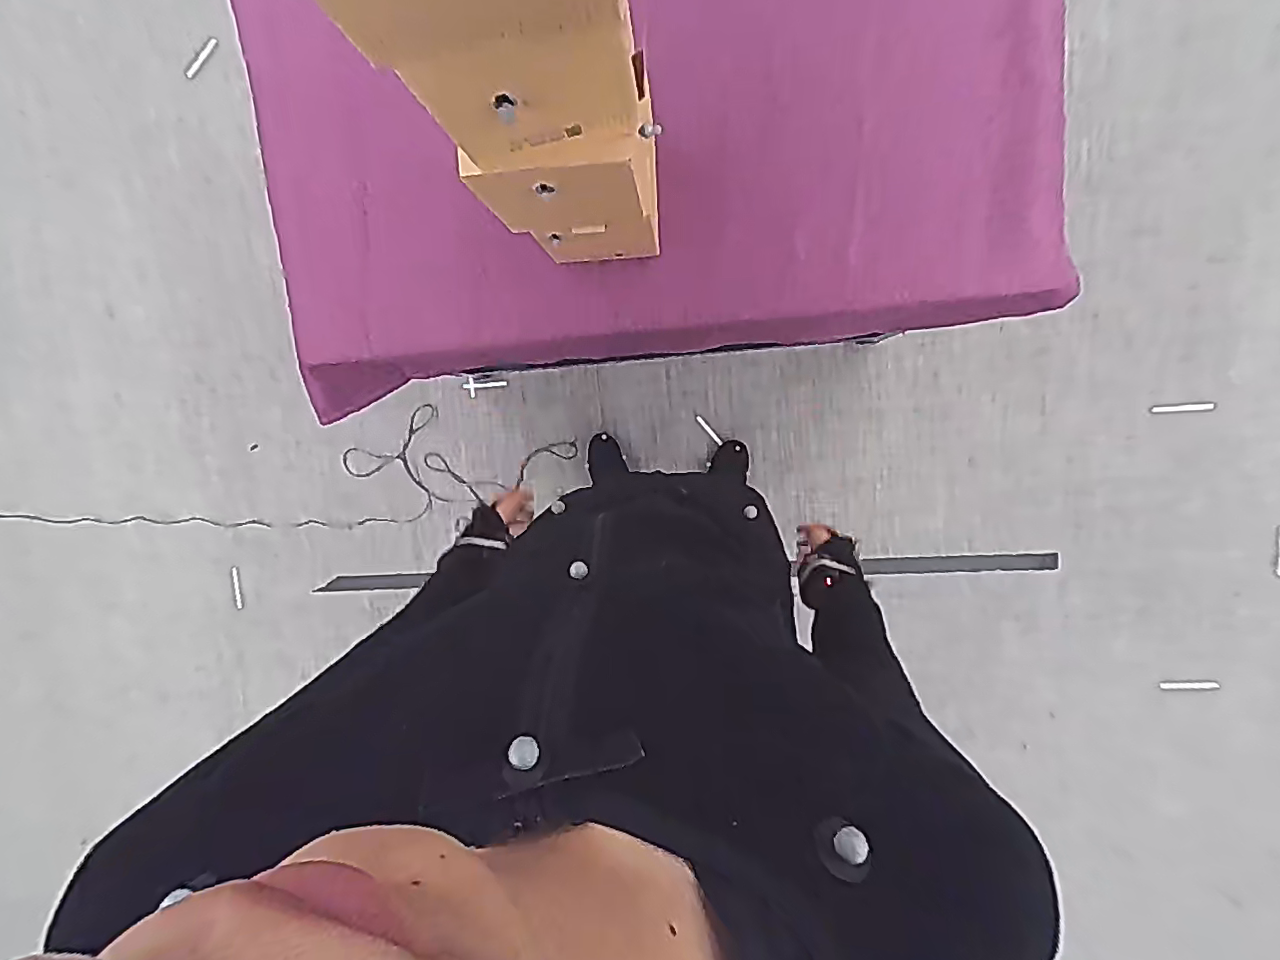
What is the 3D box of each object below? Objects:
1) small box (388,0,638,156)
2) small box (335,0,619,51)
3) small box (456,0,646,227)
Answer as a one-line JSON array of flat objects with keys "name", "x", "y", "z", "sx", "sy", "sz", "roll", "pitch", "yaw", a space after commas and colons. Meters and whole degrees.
[{"name": "small box", "x": -0.101, "y": -0.394, "z": 0.437, "sx": 0.168, "sy": 0.176, "sz": 0.179, "roll": -10, "pitch": 94, "yaw": 6}, {"name": "small box", "x": -0.109, "y": -0.363, "z": 0.275, "sx": 0.179, "sy": 0.176, "sz": 0.168, "roll": -4, "pitch": 96, "yaw": 5}, {"name": "small box", "x": -0.090, "y": -0.395, "z": 0.600, "sx": 0.179, "sy": 0.176, "sz": 0.168, "roll": -2, "pitch": 97, "yaw": 5}]
